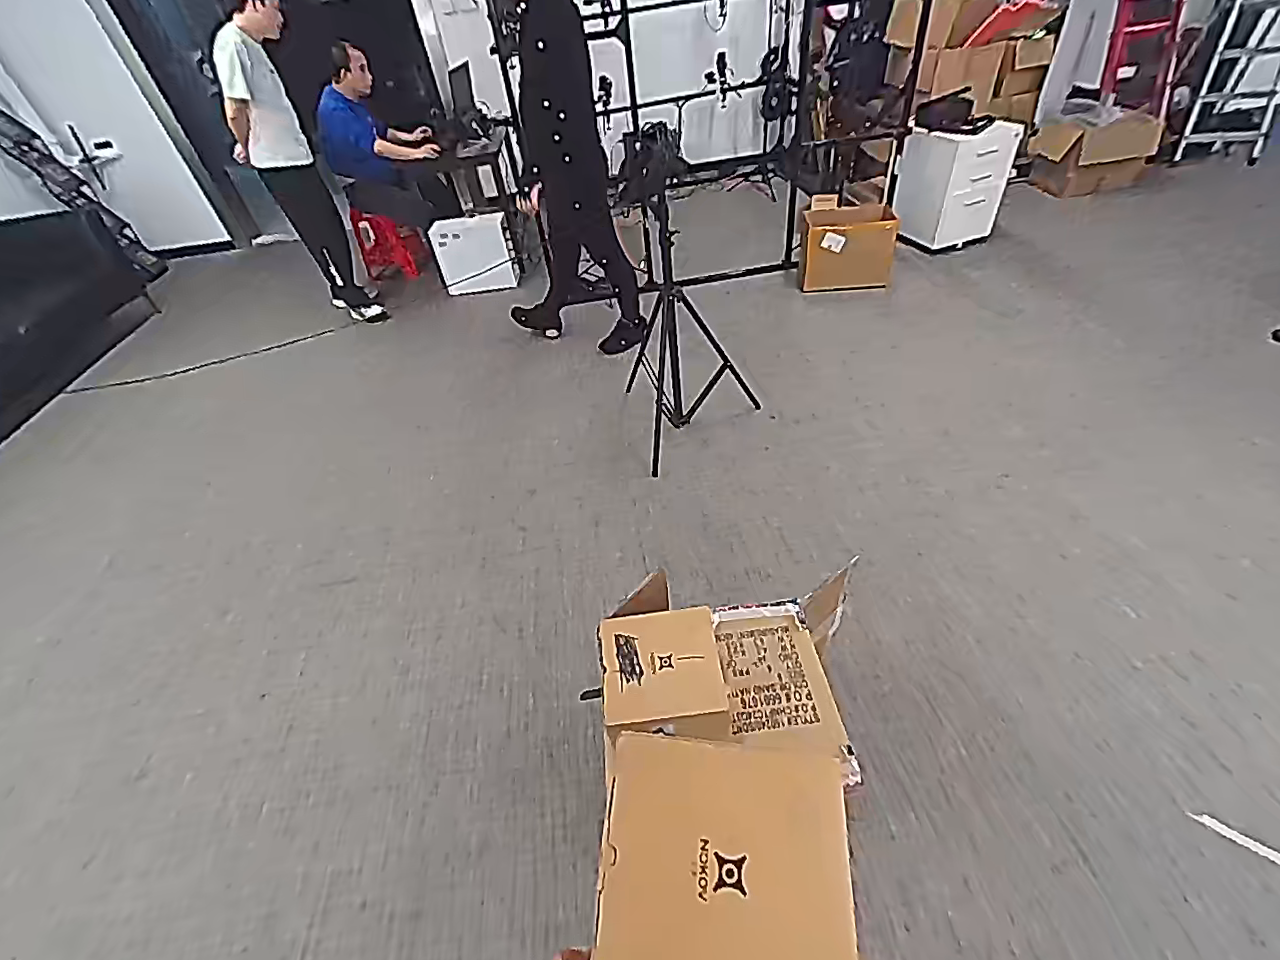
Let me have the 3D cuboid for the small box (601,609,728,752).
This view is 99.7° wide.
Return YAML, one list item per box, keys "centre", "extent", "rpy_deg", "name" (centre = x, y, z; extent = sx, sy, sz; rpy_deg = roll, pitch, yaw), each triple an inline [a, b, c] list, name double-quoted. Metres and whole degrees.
- centre: [0.040, 0.327, 0.850]
  extent: [0.179, 0.176, 0.168]
  rpy_deg: [-8, 45, 1]
  name: "small box"

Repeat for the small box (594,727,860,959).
- centre: [0.071, 0.316, 0.452]
  extent: [0.179, 0.176, 0.168]
  rpy_deg: [1, 56, 9]
  name: "small box"
